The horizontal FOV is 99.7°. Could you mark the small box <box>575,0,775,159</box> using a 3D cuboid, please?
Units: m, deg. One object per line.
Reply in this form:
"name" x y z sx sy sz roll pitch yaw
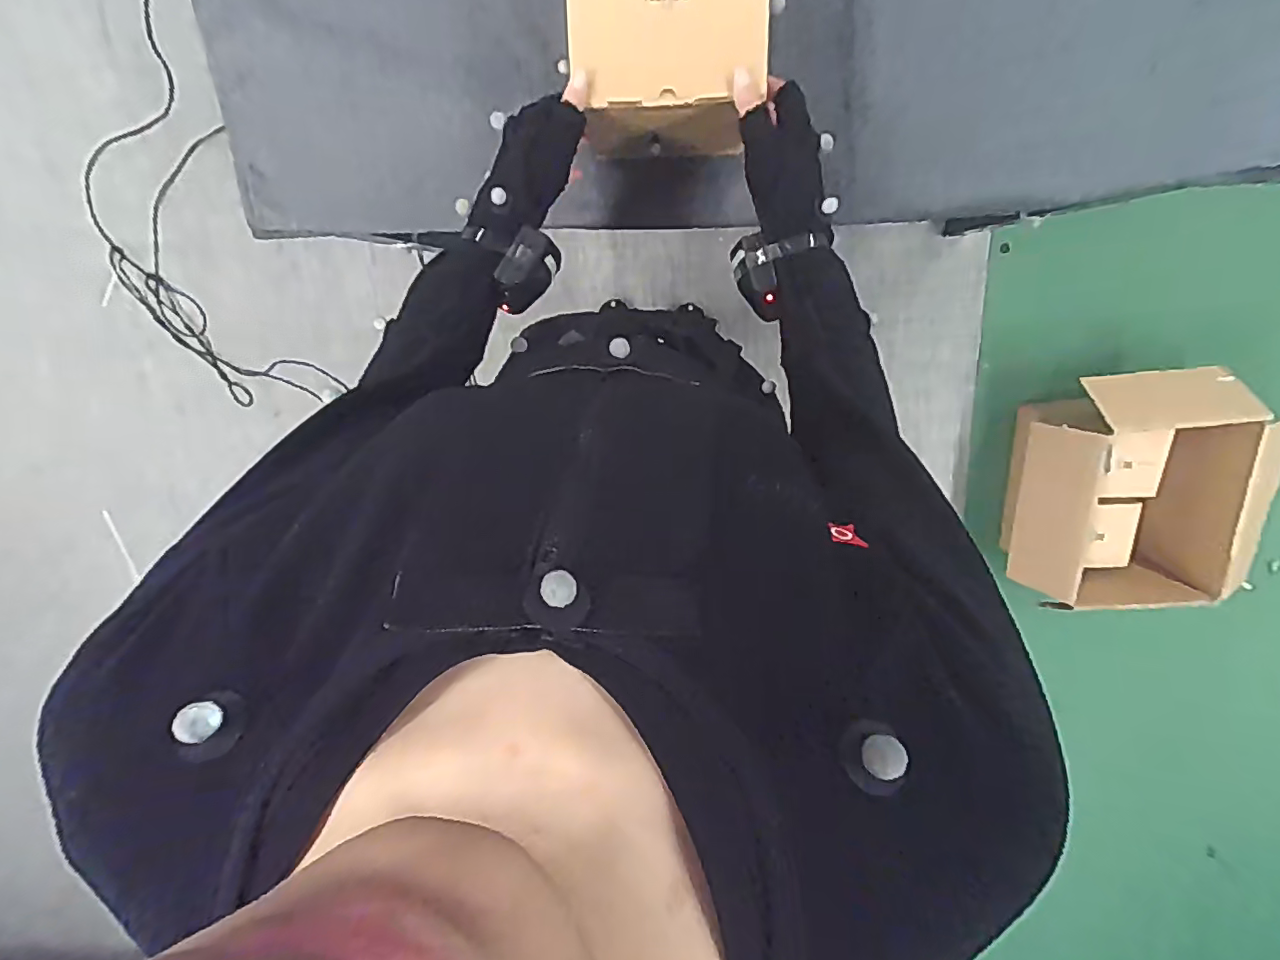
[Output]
"small box" 0.031 -0.426 0.511 0.168 0.176 0.179 0 108 4
